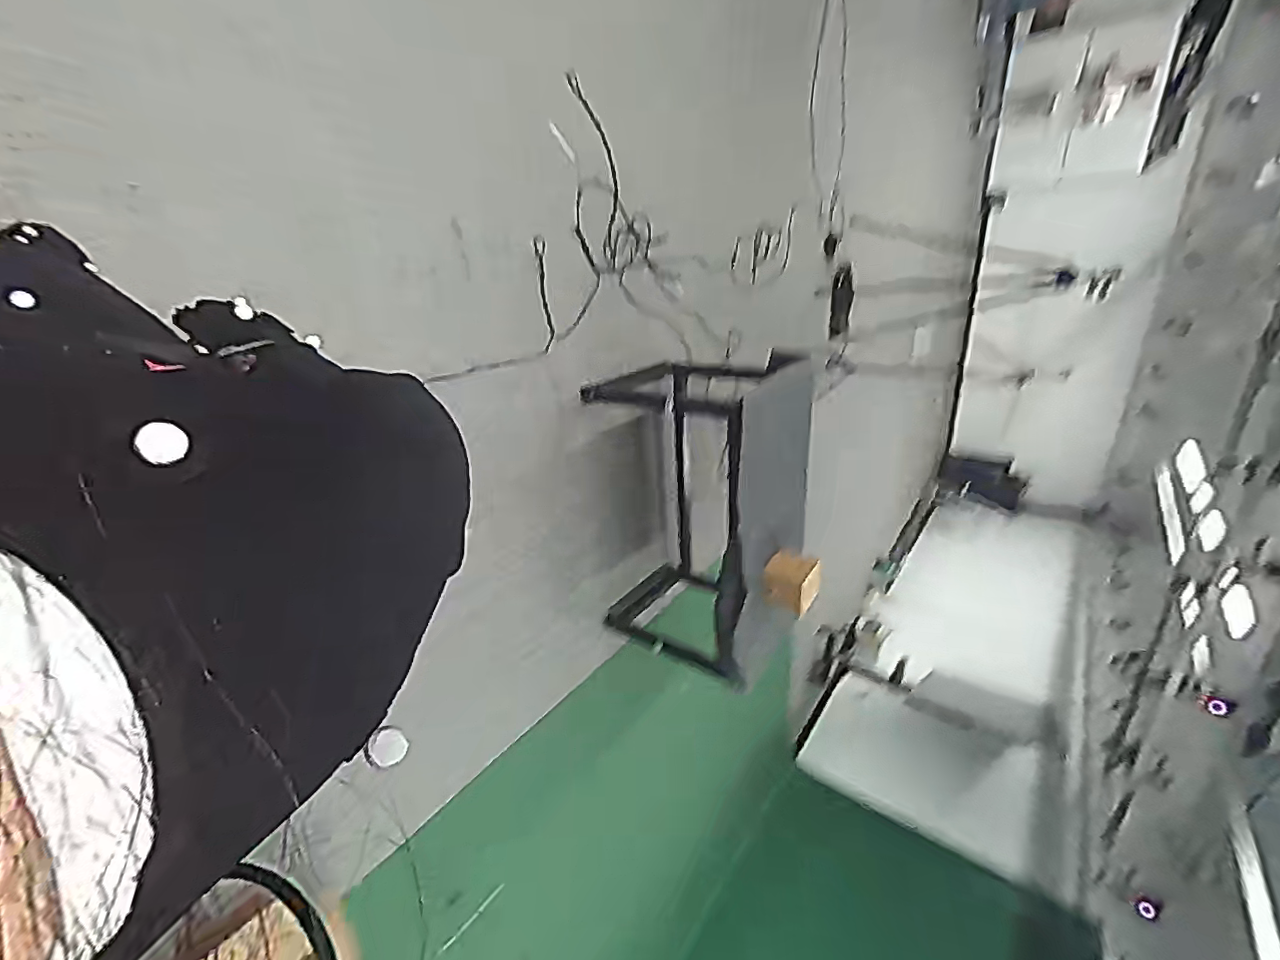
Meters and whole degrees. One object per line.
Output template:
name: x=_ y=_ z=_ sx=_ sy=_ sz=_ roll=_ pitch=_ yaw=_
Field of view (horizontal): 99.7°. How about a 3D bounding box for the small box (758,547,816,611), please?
small box: x=0.585 y=0.387 z=2.161 sx=0.179 sy=0.176 sz=0.168 roll=-33 pitch=126 yaw=-44
